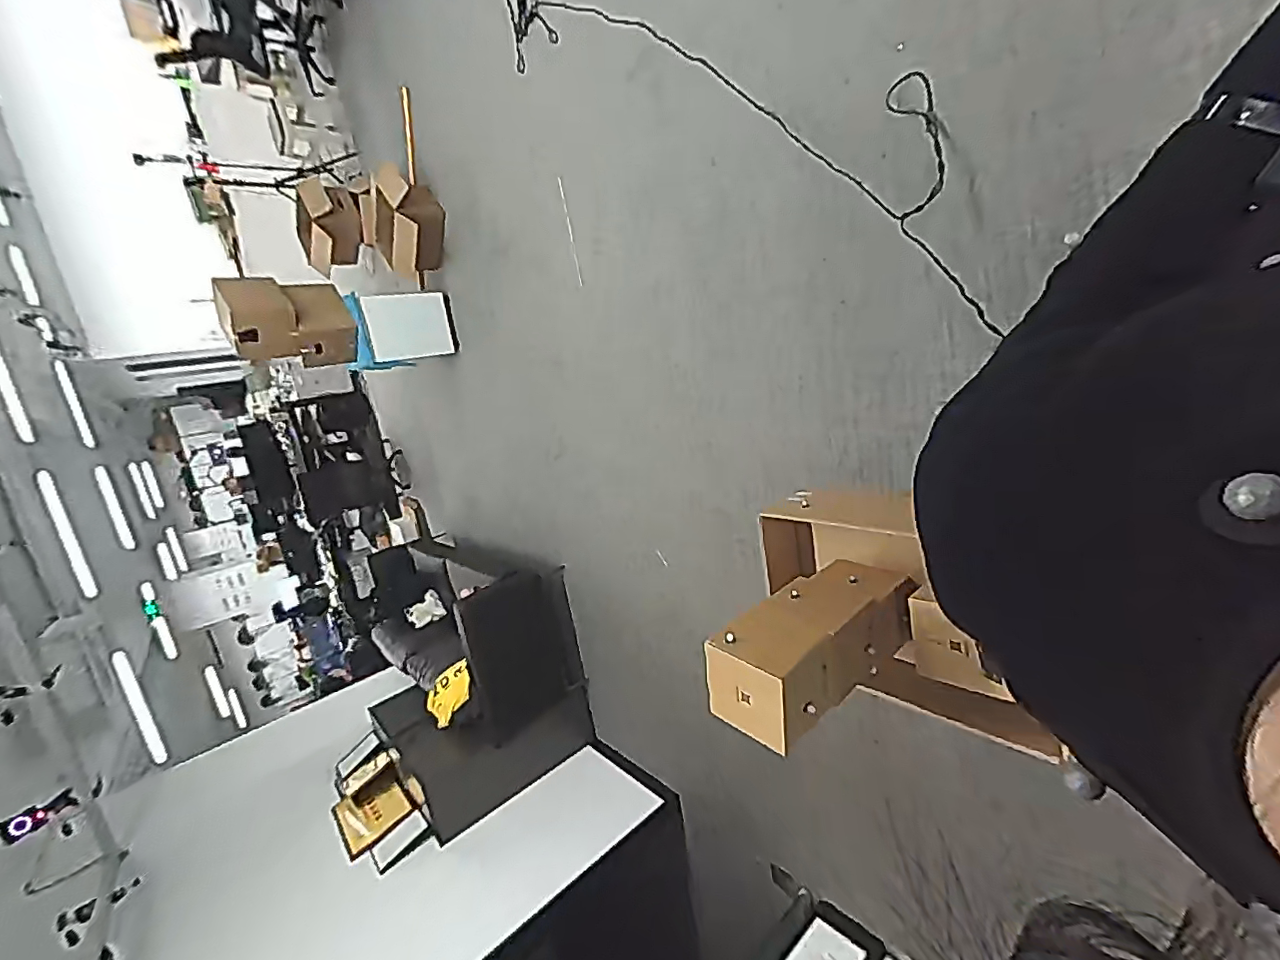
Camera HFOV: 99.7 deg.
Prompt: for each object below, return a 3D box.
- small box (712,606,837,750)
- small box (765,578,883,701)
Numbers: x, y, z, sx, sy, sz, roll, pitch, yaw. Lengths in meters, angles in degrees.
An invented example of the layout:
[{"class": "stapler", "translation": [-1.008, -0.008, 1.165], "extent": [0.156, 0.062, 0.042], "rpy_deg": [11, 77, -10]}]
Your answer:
[{"class": "small box", "translation": [0.263, 0.367, 1.043], "extent": [0.179, 0.176, 0.168], "rpy_deg": [13, 116, 48]}, {"class": "small box", "translation": [0.387, 0.322, 1.137], "extent": [0.179, 0.176, 0.168], "rpy_deg": [10, 114, 48]}]
